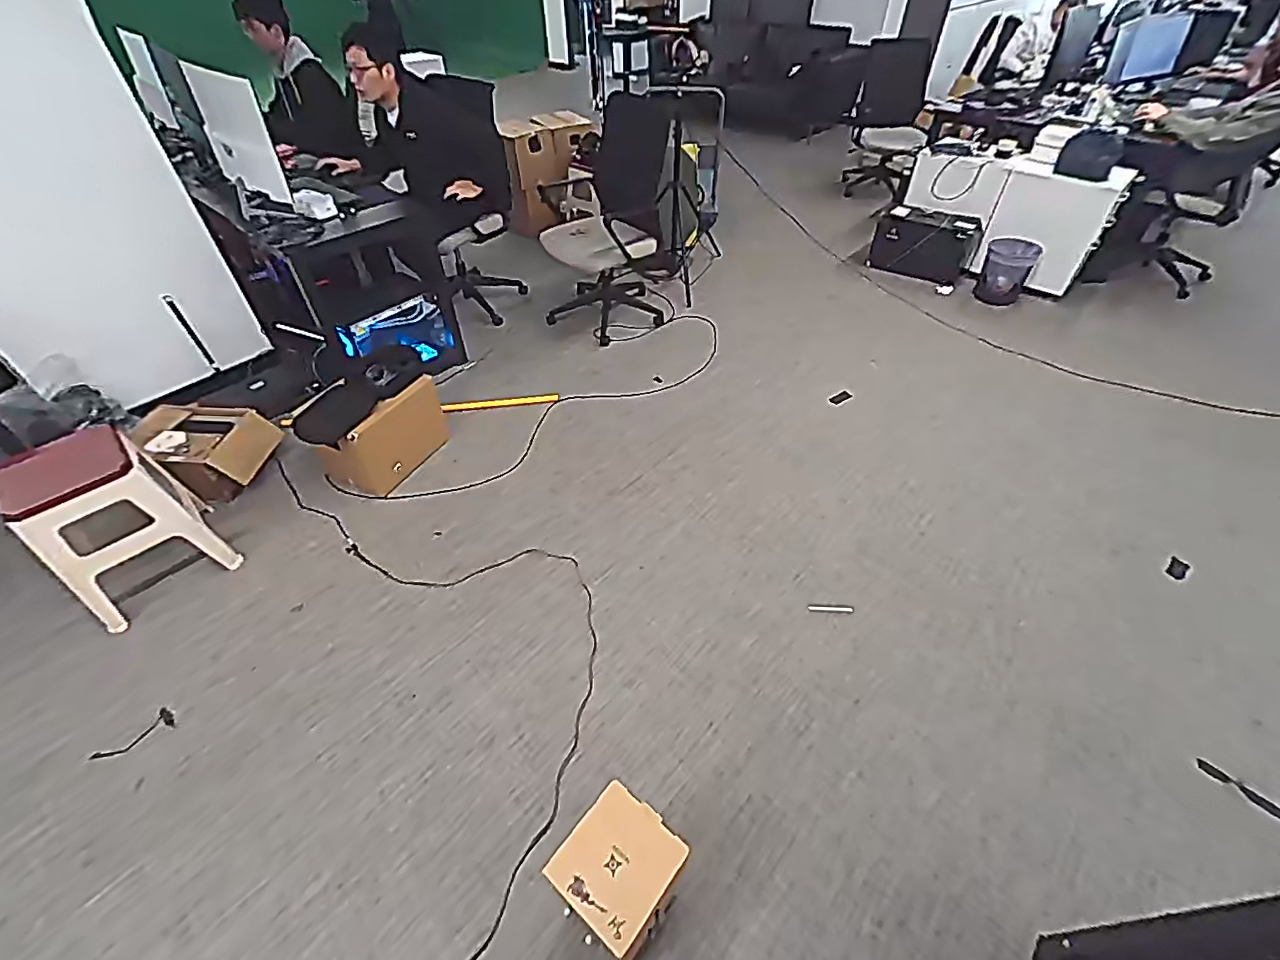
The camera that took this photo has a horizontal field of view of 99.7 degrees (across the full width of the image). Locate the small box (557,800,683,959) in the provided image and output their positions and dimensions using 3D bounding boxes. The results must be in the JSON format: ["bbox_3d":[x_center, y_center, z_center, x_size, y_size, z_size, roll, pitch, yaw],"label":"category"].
[{"bbox_3d":[-0.033,0.765,1.032,0.168,0.176,0.179,28,50,24],"label":"small box"}]

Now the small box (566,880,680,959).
[{"bbox_3d":[-0.034,0.884,1.141,0.168,0.176,0.179,30,53,27],"label":"small box"}]
